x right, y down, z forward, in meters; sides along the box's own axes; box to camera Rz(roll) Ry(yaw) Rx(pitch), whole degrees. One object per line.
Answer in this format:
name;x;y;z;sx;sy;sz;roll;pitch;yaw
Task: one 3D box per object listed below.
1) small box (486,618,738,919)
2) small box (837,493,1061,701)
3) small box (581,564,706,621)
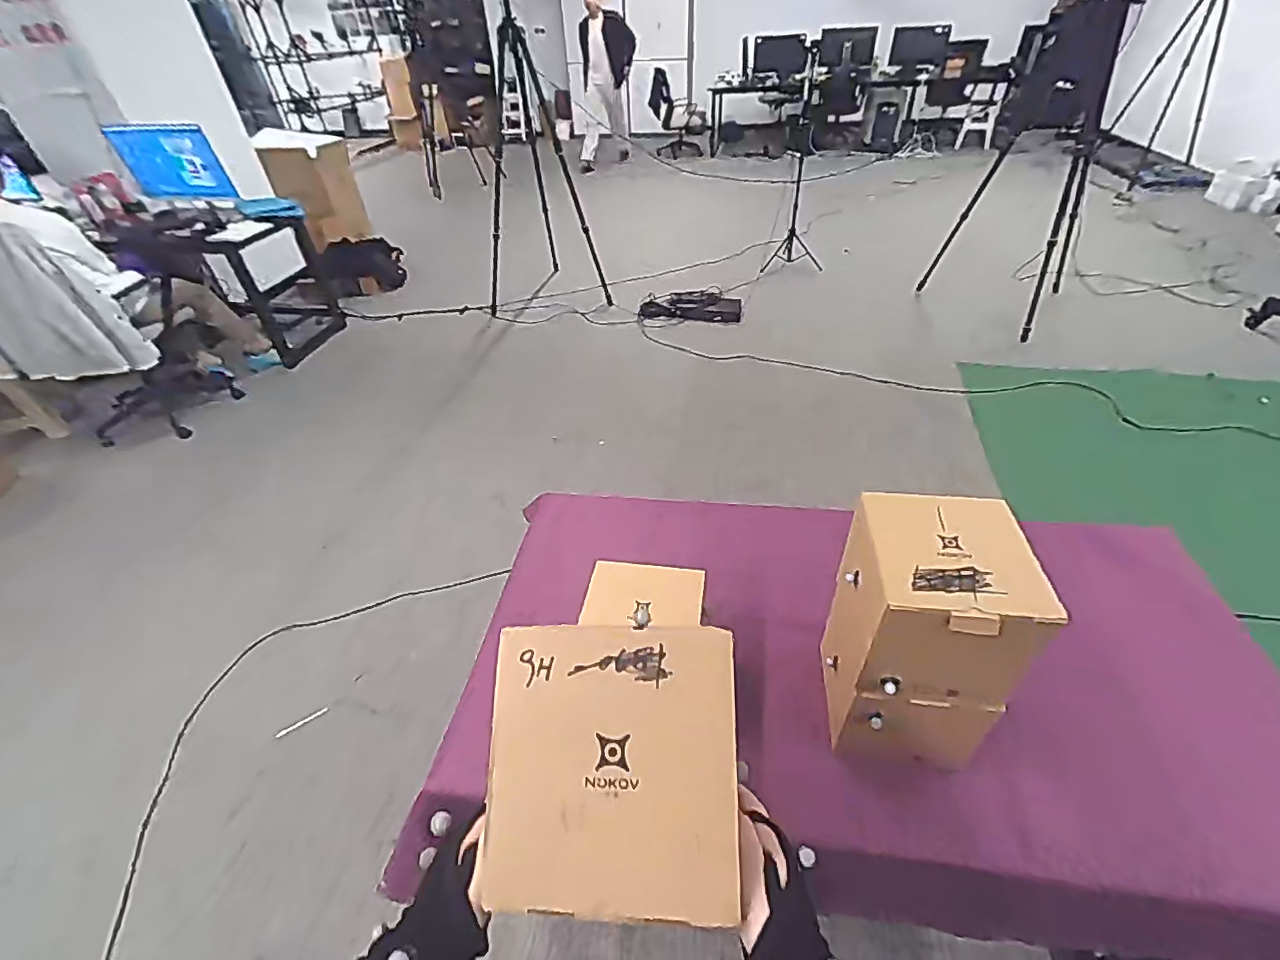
small box;-0.010;0.204;0.436;0.168;0.176;0.179;-1;76;5
small box;0.340;0.137;0.640;0.168;0.176;0.179;3;39;8
small box;0.006;0.249;0.792;0.168;0.176;0.179;3;41;10
